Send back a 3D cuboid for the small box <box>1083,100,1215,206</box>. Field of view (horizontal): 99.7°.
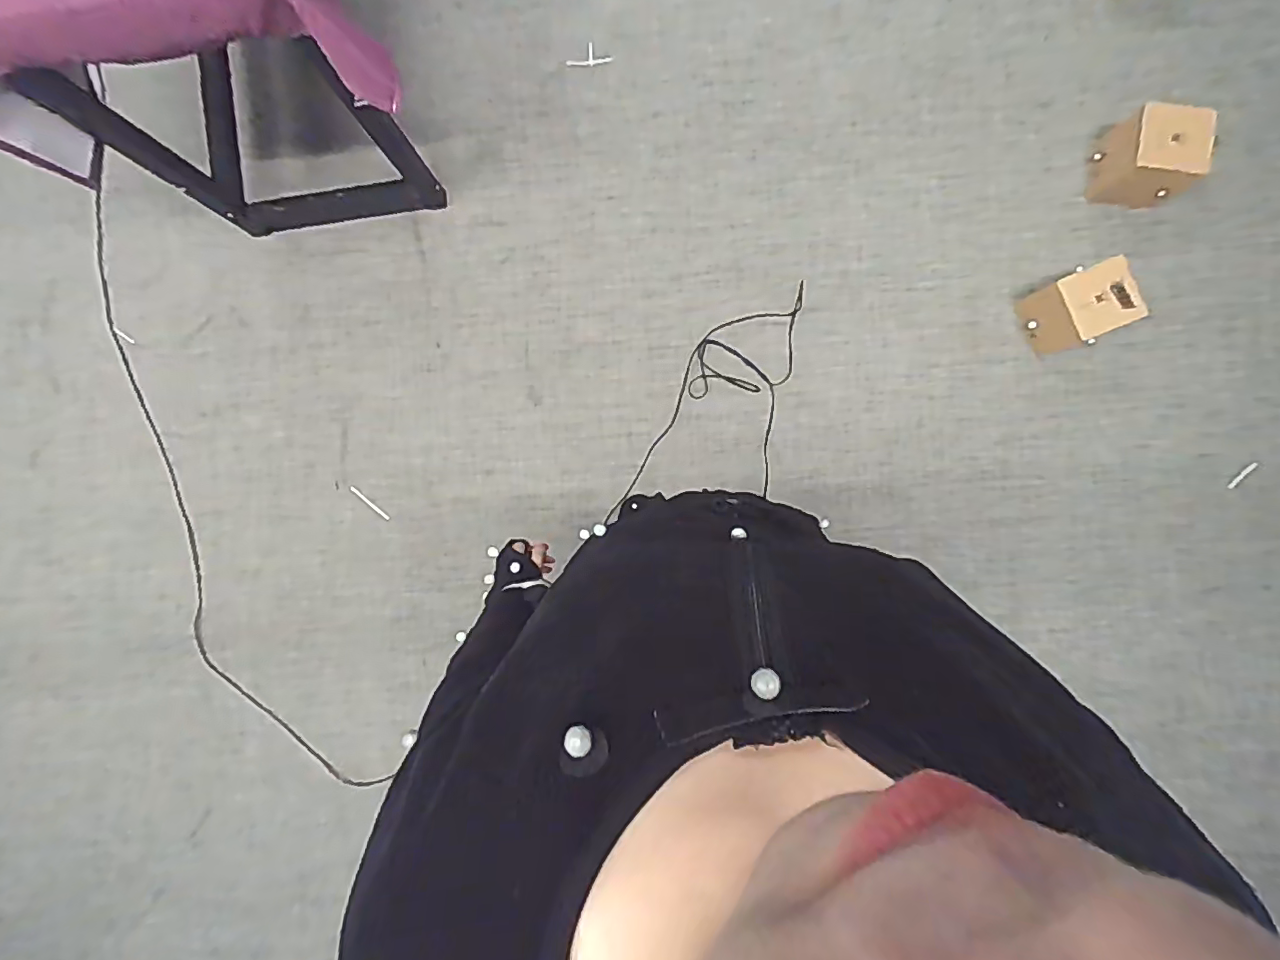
[{"bbox_3d":[1.318,-0.842,1.409,0.179,0.176,0.168,9,89,2],"label":"small box"}]
